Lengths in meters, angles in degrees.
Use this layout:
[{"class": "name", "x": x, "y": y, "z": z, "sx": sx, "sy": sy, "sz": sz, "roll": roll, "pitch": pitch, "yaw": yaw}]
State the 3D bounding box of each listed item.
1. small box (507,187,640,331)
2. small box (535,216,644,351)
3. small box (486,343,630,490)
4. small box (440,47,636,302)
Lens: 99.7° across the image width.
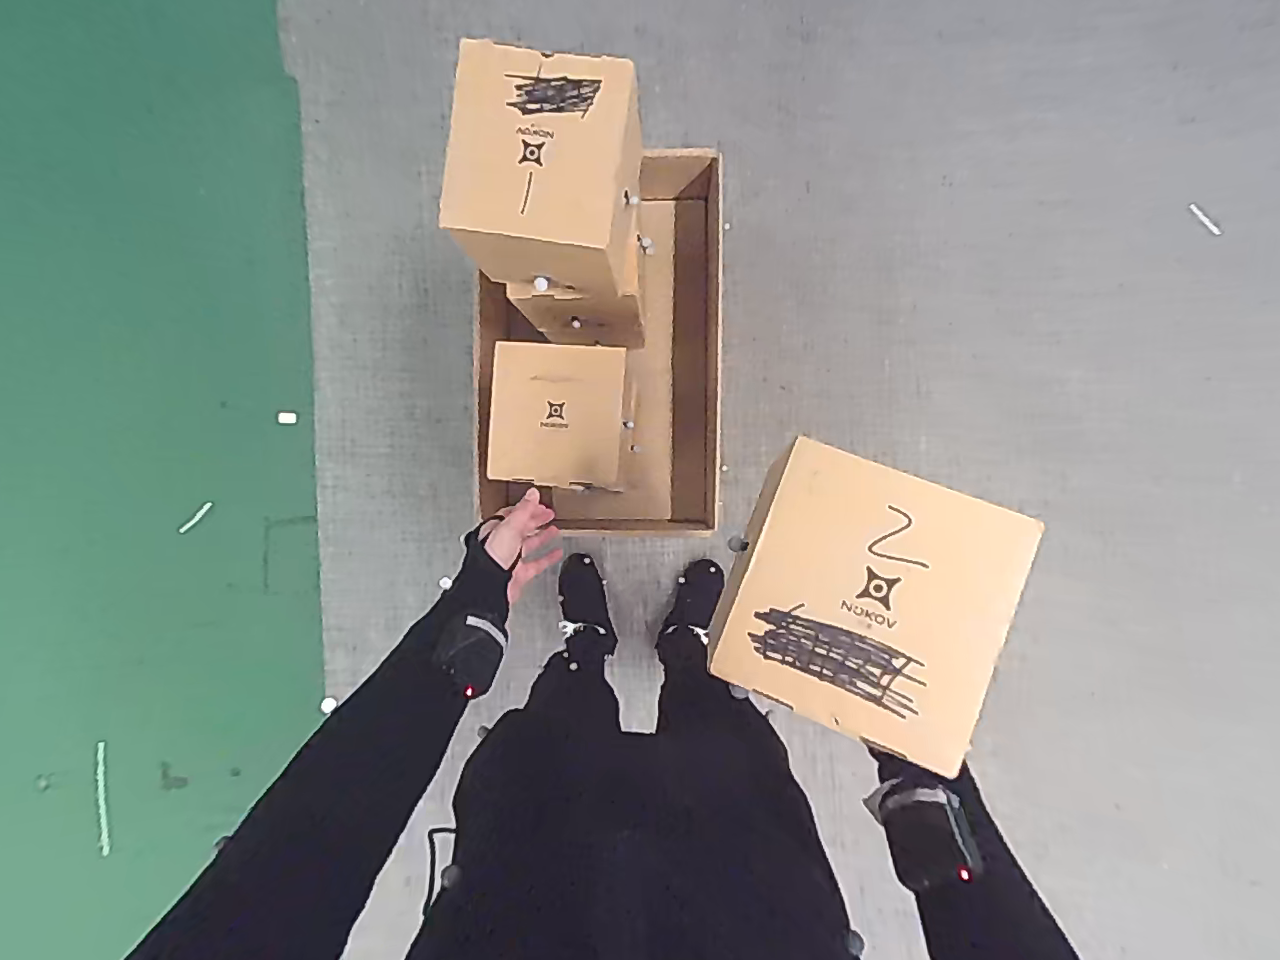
[{"class": "small box", "x": -0.086, "y": -0.317, "z": 0.756, "sx": 0.168, "sy": 0.176, "sz": 0.179, "roll": -1, "pitch": 93, "yaw": 2}, {"class": "small box", "x": -0.080, "y": -0.325, "z": 0.918, "sx": 0.168, "sy": 0.176, "sz": 0.179, "roll": 0, "pitch": 92, "yaw": 3}, {"class": "small box", "x": -0.103, "y": -0.080, "z": 0.756, "sx": 0.168, "sy": 0.176, "sz": 0.179, "roll": 4, "pitch": 90, "yaw": 1}, {"class": "small box", "x": -0.097, "y": -0.315, "z": 0.592, "sx": 0.168, "sy": 0.176, "sz": 0.179, "roll": 9, "pitch": 93, "yaw": 2}]
